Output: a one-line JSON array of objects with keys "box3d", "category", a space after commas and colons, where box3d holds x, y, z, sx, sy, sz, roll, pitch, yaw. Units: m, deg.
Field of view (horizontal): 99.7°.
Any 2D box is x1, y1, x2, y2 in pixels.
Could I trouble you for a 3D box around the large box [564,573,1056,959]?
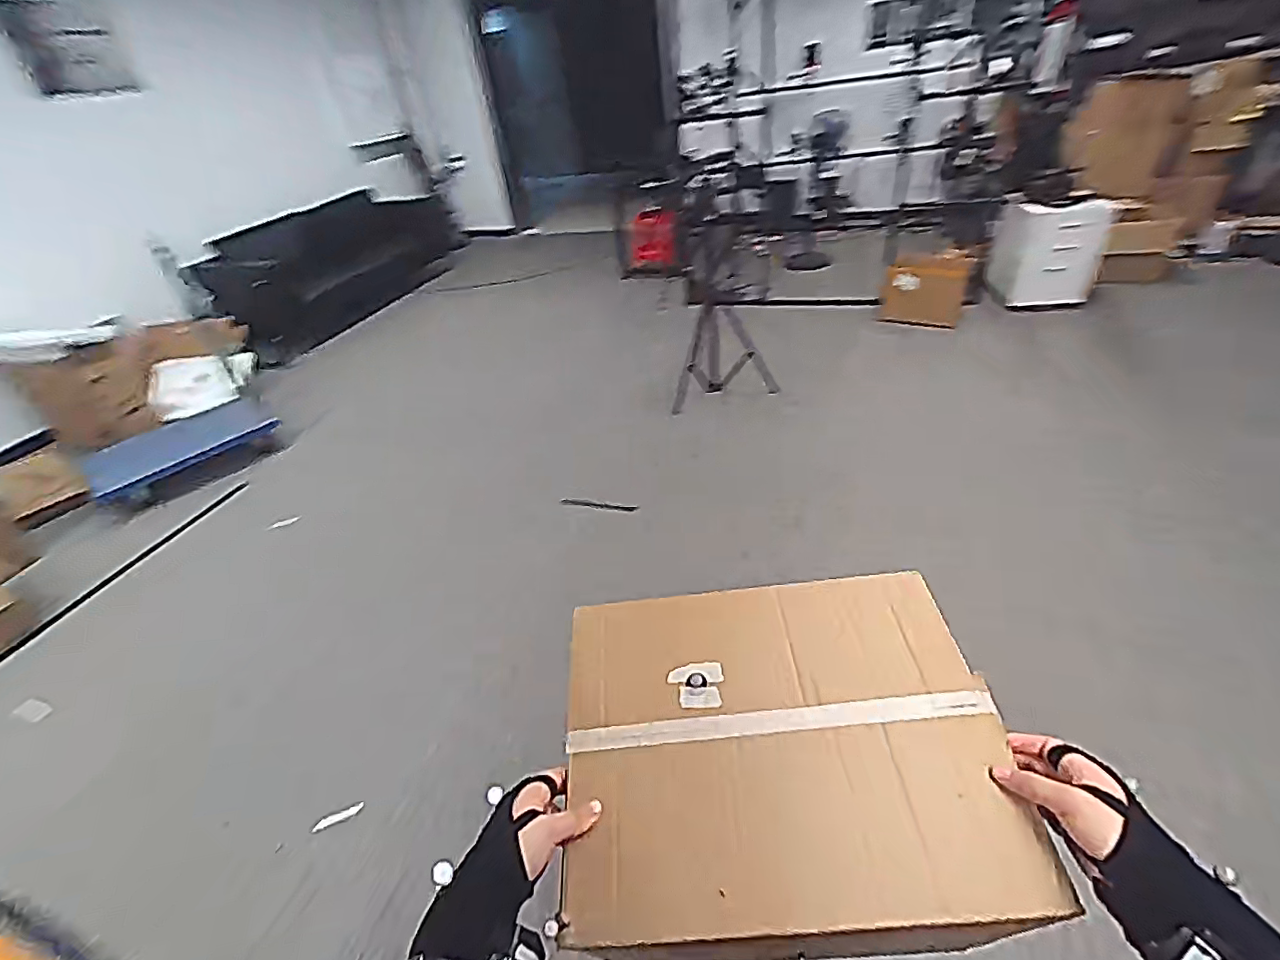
[{"box3d": [0.147, 0.350, 0.641, 0.408, 0.320, 0.320, -9, 44, 4], "category": "large box"}]
